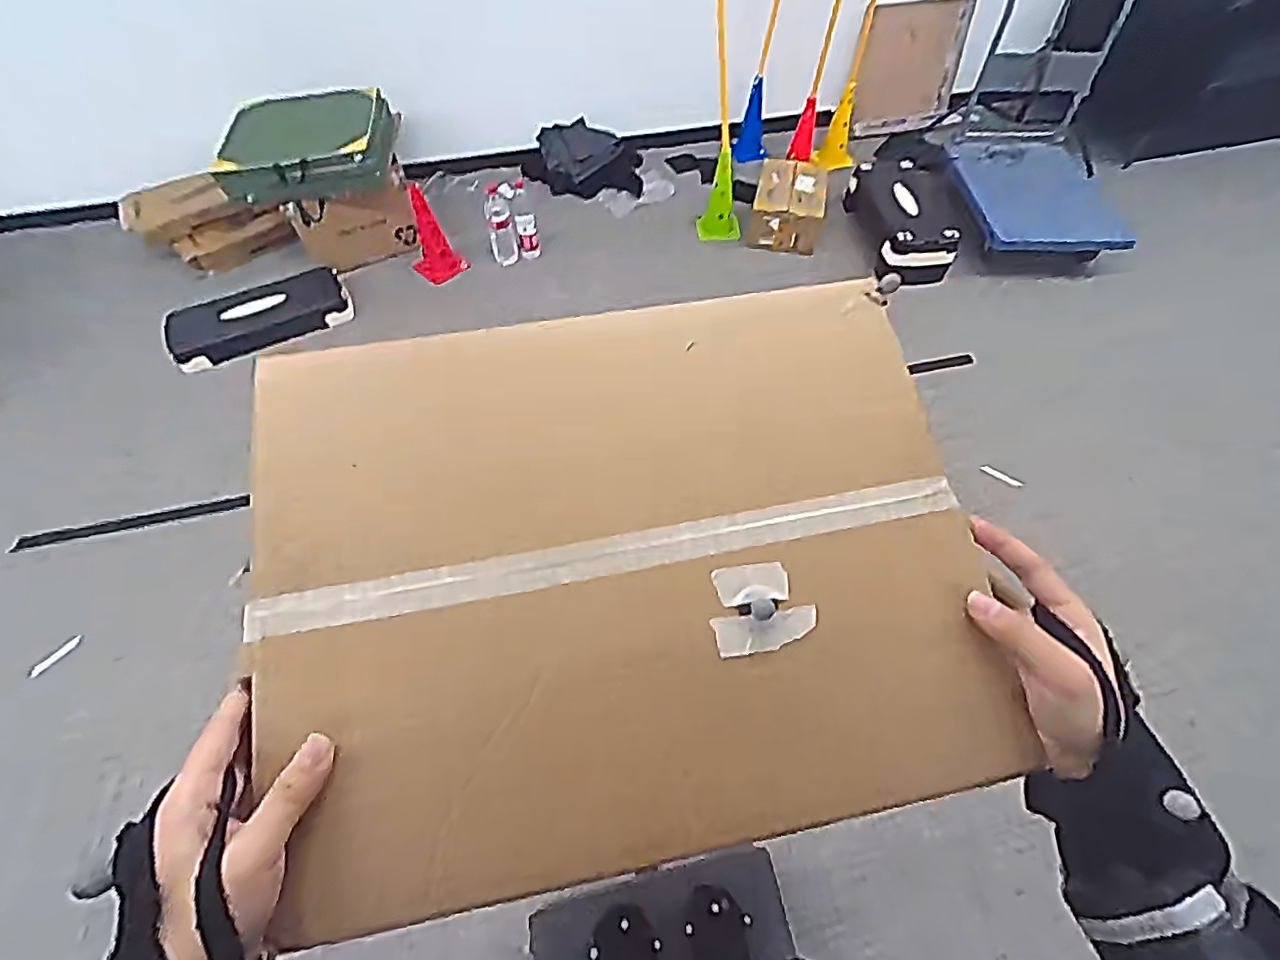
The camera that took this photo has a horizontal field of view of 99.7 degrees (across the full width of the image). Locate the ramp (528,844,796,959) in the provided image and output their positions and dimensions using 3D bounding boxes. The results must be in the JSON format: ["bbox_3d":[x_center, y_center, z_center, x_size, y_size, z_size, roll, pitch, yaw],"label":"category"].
[{"bbox_3d":[0.130,1.230,0.885,0.509,0.206,0.991,-12,57,-8],"label":"ramp"}]

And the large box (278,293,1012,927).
[{"bbox_3d":[-0.019,0.086,0.467,0.408,0.320,0.320,-9,75,-6],"label":"large box"}]
